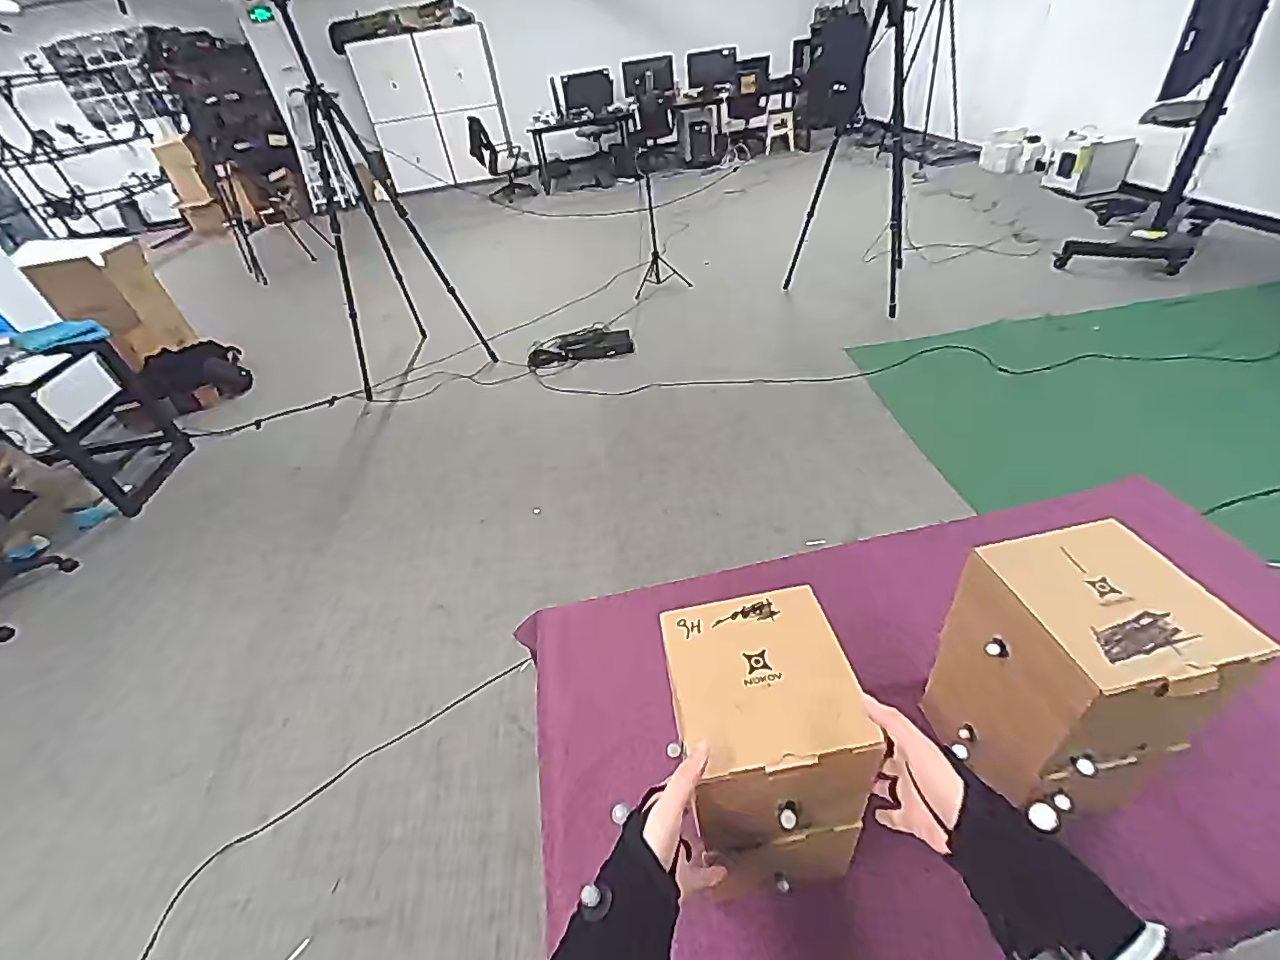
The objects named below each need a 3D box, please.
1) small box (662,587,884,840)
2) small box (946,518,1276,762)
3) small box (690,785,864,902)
[{"bbox_3d":[0.124,0.242,0.557,0.168,0.176,0.179,-11,39,-2],"label":"small box"},{"bbox_3d":[0.463,0.172,0.572,0.168,0.176,0.179,-12,37,-2],"label":"small box"},{"bbox_3d":[0.146,0.372,0.657,0.168,0.176,0.179,-11,39,-1],"label":"small box"}]
